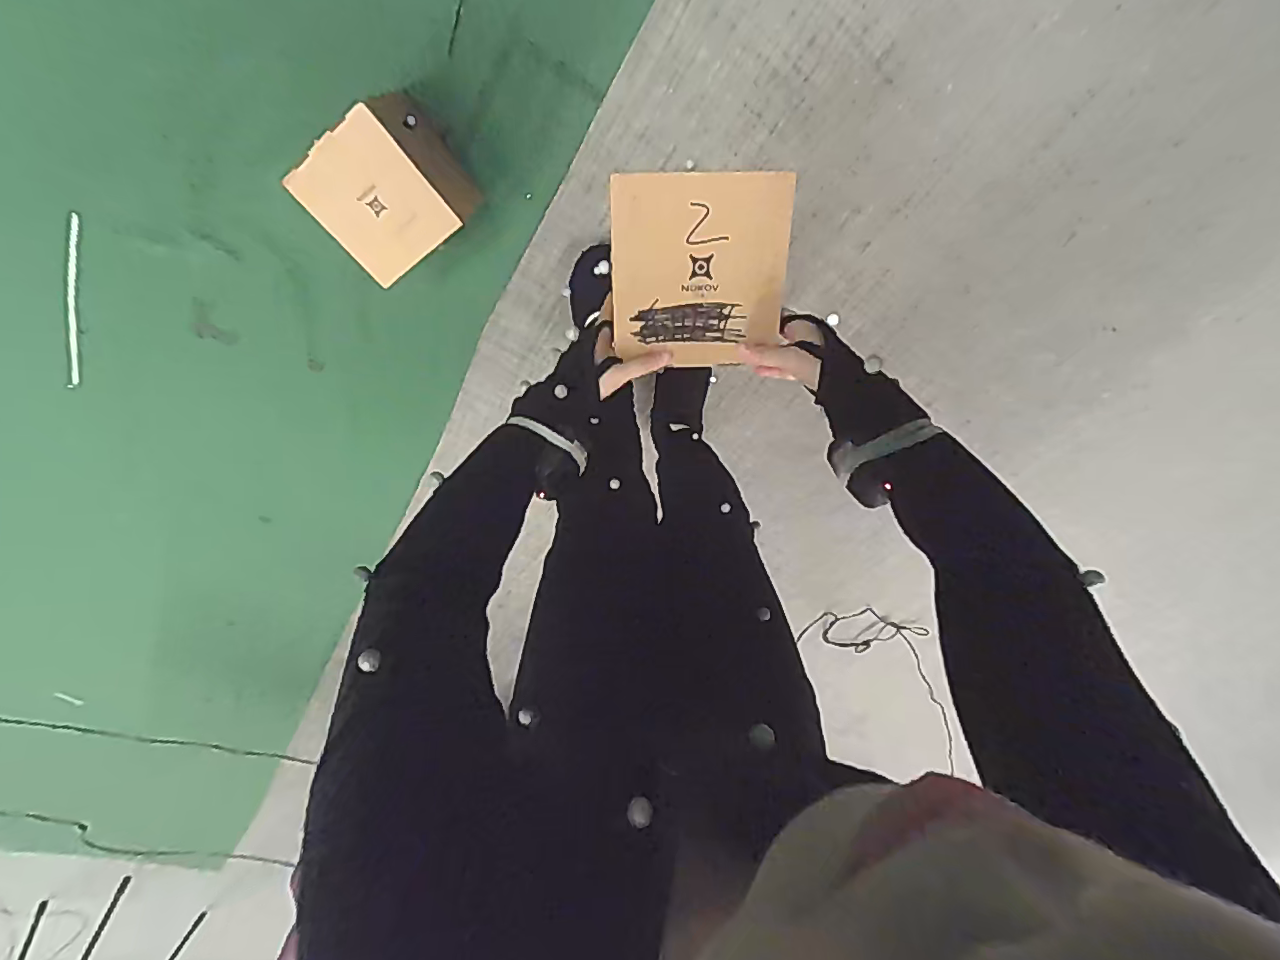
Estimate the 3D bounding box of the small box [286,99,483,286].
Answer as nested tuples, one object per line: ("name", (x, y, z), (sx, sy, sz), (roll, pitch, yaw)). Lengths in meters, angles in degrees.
("small box", (-0.363, -0.429, 0.803), (0.168, 0.176, 0.179), (-28, 125, 19))
